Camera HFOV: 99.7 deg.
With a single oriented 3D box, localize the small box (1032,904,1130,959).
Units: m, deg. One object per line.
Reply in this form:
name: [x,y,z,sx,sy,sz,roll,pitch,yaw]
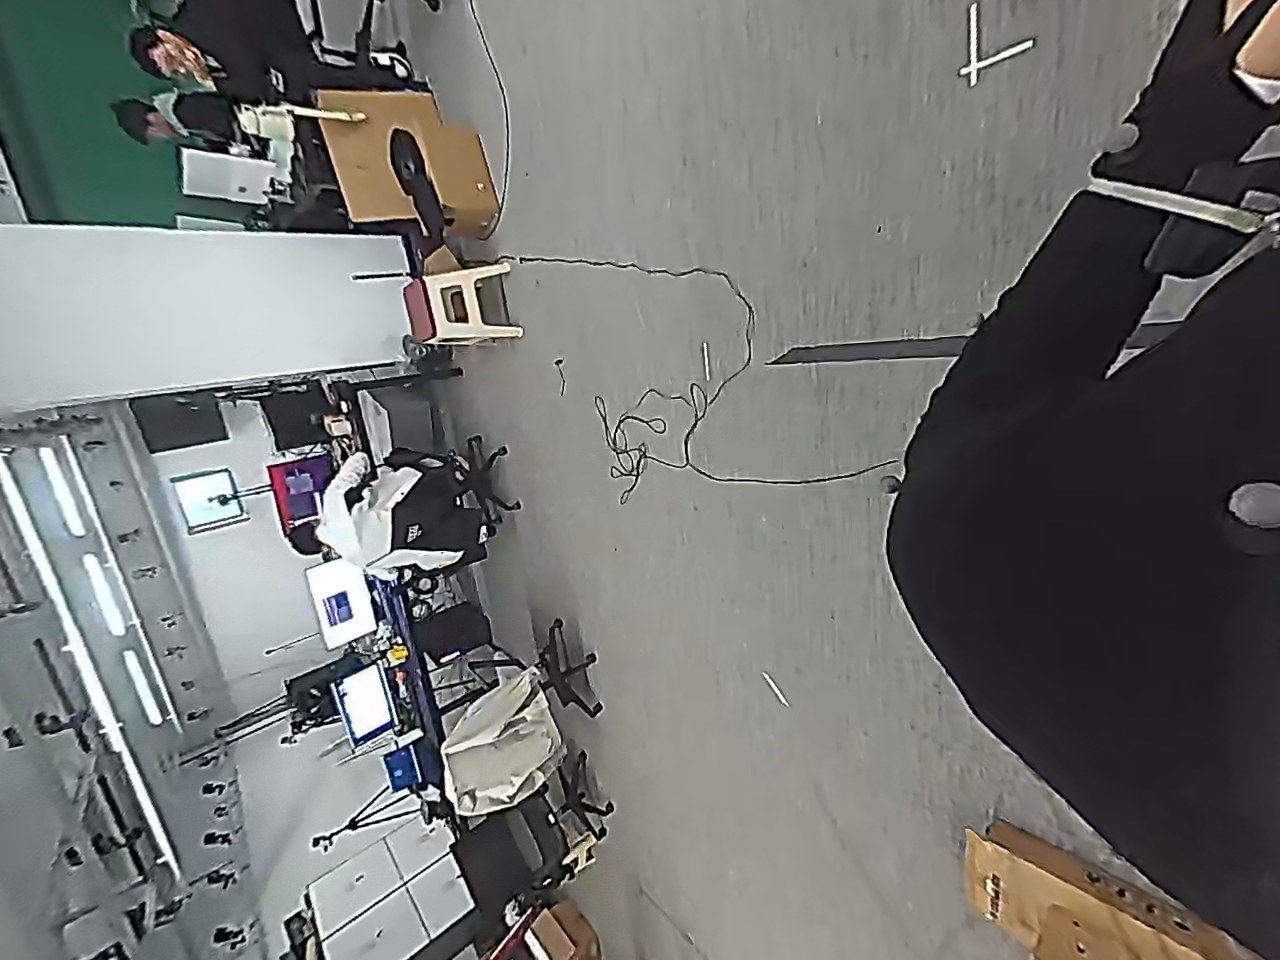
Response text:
small box: [1.104,1.231,1.355,0.168,0.176,0.179,7,110,50]
